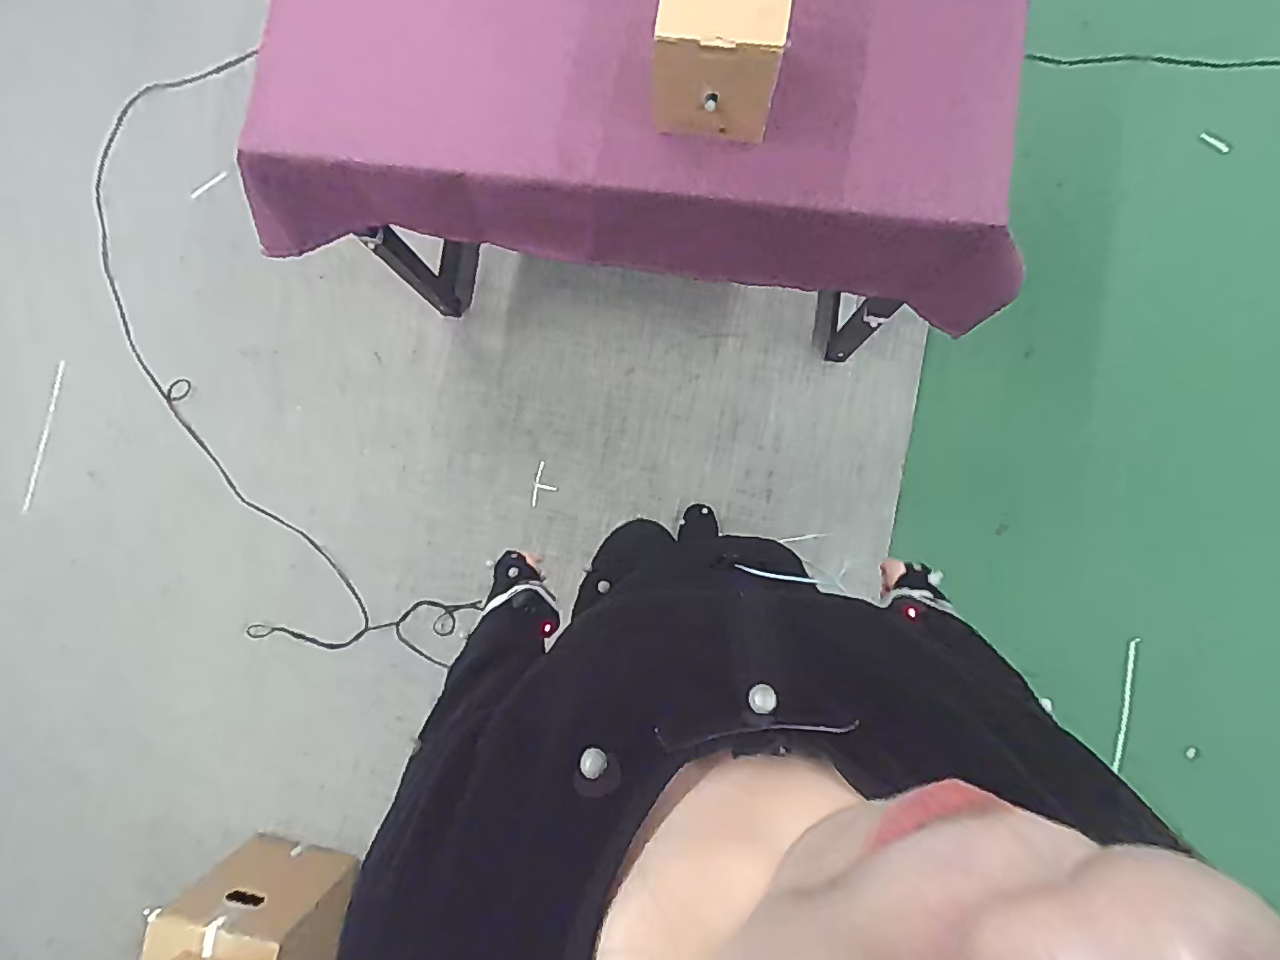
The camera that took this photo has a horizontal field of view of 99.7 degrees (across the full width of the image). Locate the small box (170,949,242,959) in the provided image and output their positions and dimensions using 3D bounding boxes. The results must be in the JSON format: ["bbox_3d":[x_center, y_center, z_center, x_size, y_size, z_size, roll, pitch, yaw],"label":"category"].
[{"bbox_3d":[-0.949,1.115,1.104,0.179,0.176,0.168,8,86,2],"label":"small box"}]

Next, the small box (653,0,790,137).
[{"bbox_3d":[0.115,-0.619,0.753,0.168,0.176,0.179,9,87,4],"label":"small box"}]
